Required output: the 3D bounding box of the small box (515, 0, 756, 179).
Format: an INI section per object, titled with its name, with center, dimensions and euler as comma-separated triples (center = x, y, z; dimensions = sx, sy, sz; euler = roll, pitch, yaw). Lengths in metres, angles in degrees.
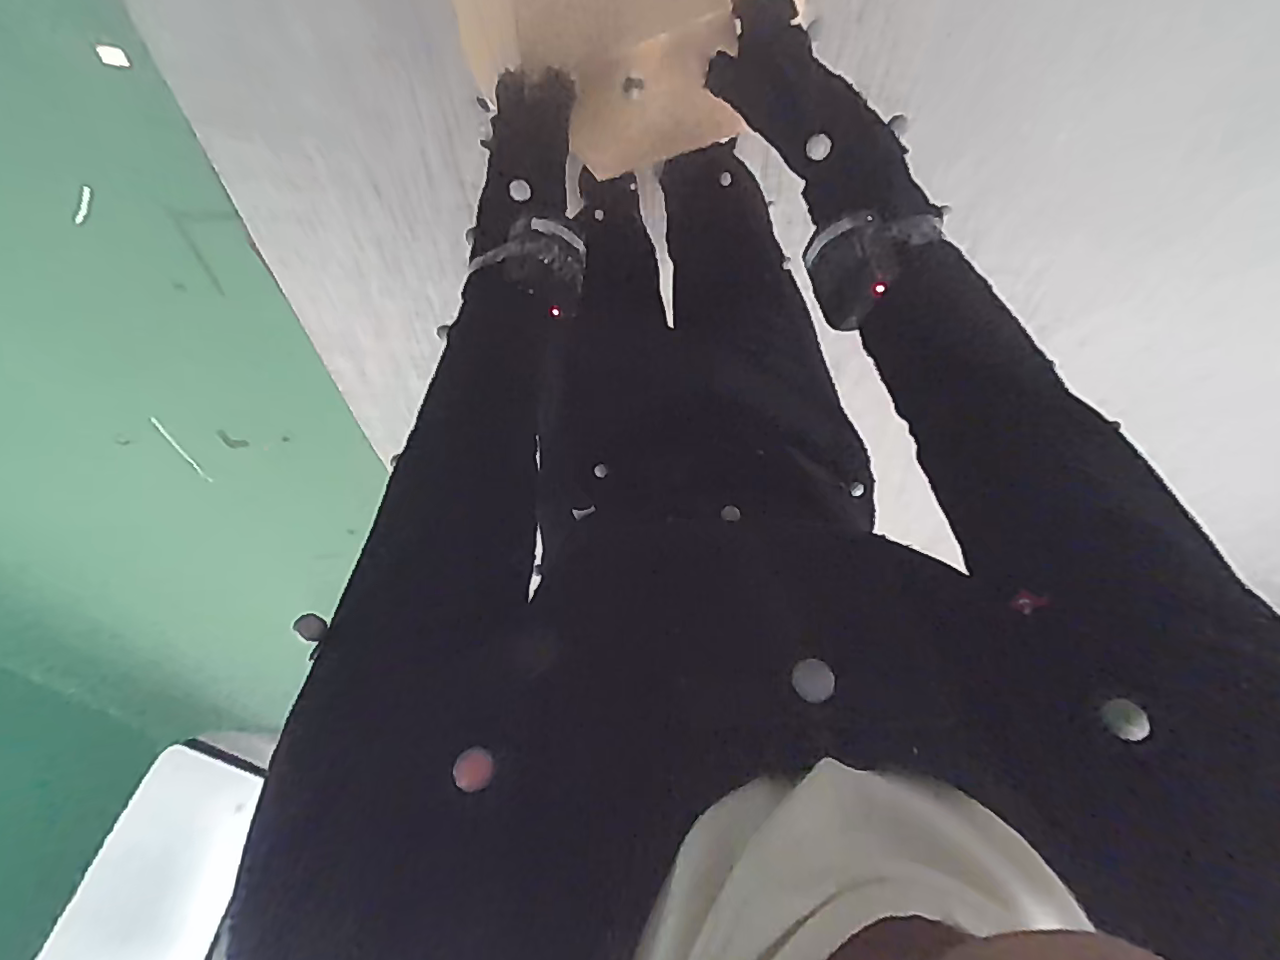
[small box]
center = 0.001, -0.419, 0.505
dimensions = 0.179, 0.168, 0.176
euler = -9, 179, 19
